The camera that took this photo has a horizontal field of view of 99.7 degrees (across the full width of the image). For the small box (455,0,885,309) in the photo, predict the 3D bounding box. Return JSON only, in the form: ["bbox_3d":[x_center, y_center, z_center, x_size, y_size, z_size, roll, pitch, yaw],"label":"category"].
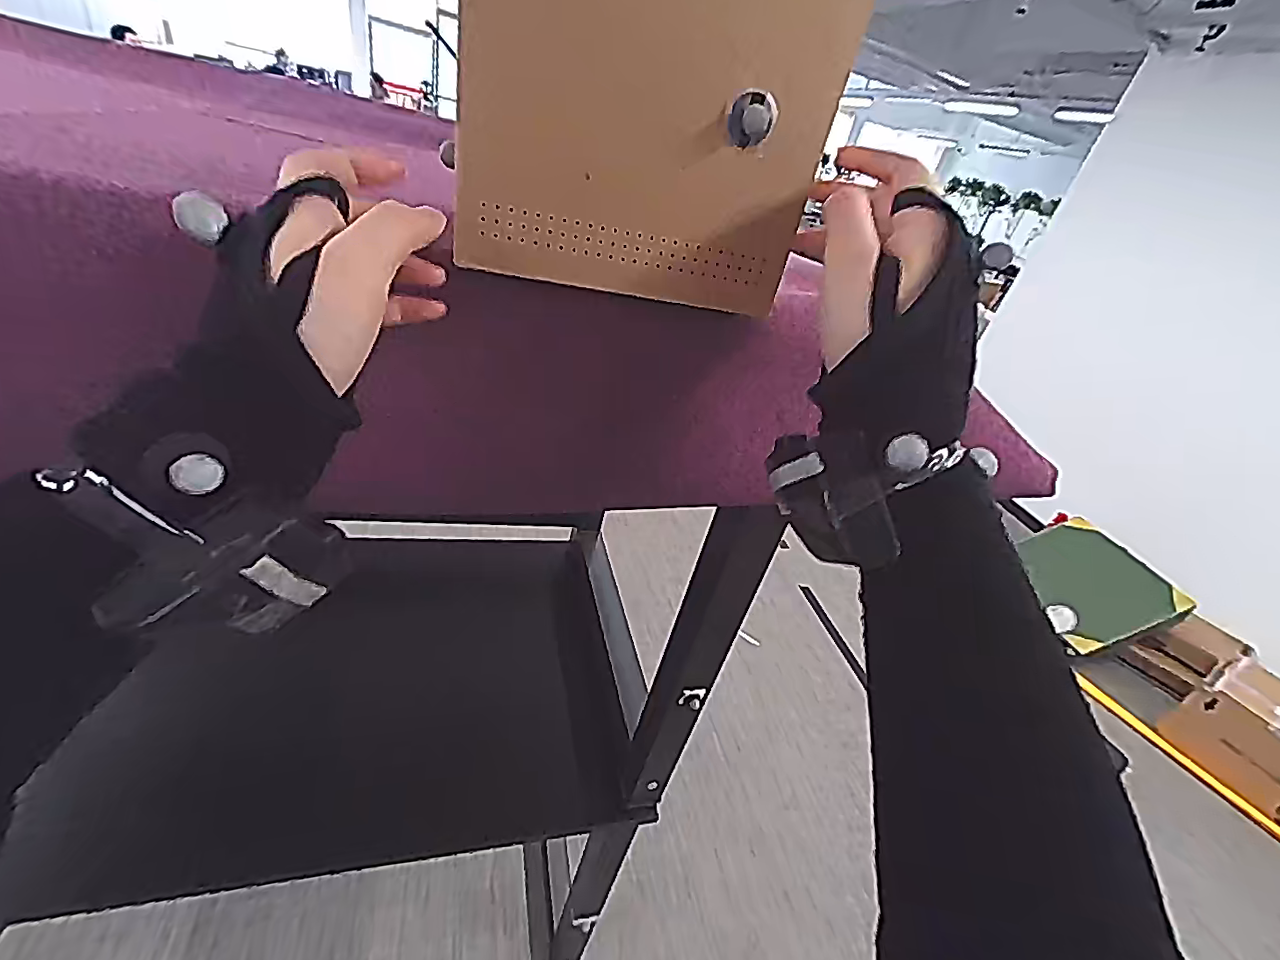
[{"bbox_3d":[-0.003,-0.209,0.307,0.179,0.176,0.168,4,33,-14],"label":"small box"}]
